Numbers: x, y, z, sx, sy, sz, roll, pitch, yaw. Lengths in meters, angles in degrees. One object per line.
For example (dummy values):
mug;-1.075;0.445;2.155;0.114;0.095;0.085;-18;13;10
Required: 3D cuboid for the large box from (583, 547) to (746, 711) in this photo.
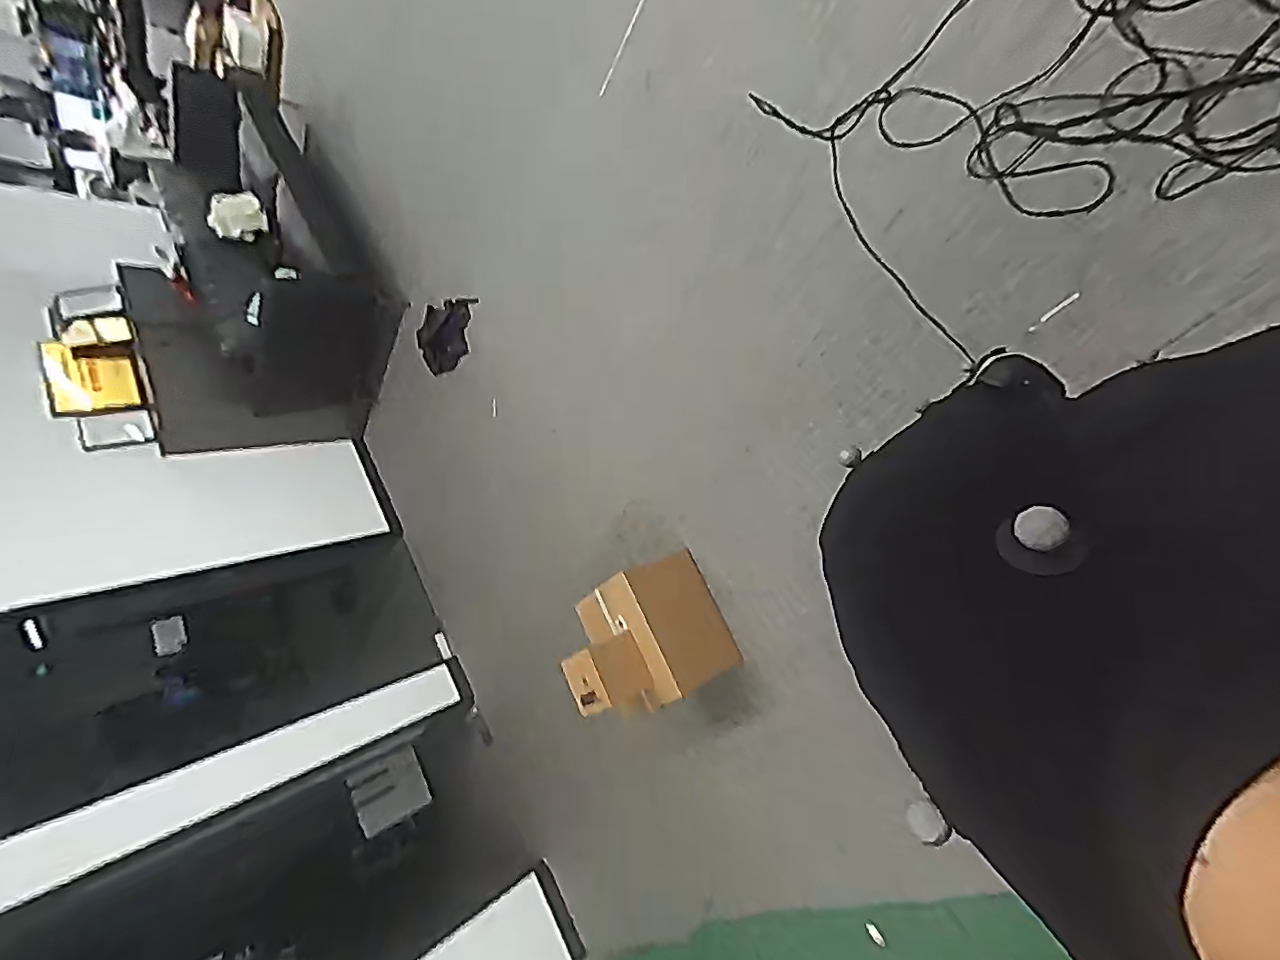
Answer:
large box;0.078;0.487;1.803;0.320;0.320;0.408;-41;68;41
